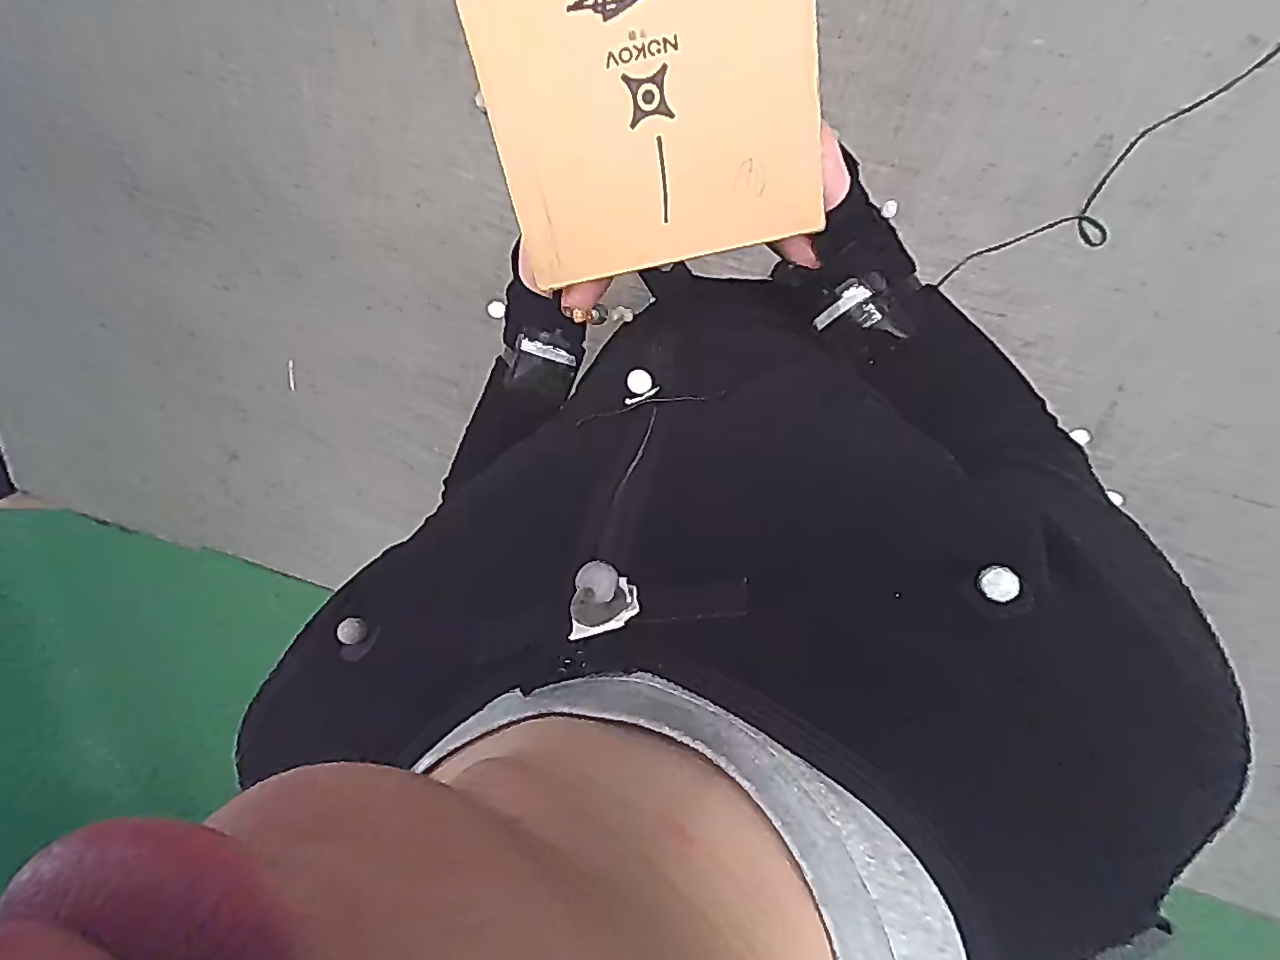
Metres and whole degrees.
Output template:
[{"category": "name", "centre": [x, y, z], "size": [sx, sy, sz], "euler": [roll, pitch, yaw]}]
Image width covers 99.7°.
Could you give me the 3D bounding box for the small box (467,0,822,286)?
[{"category": "small box", "centre": [0.007, -0.236, 0.339], "size": [0.168, 0.176, 0.179], "euler": [-9, 118, 6]}]
